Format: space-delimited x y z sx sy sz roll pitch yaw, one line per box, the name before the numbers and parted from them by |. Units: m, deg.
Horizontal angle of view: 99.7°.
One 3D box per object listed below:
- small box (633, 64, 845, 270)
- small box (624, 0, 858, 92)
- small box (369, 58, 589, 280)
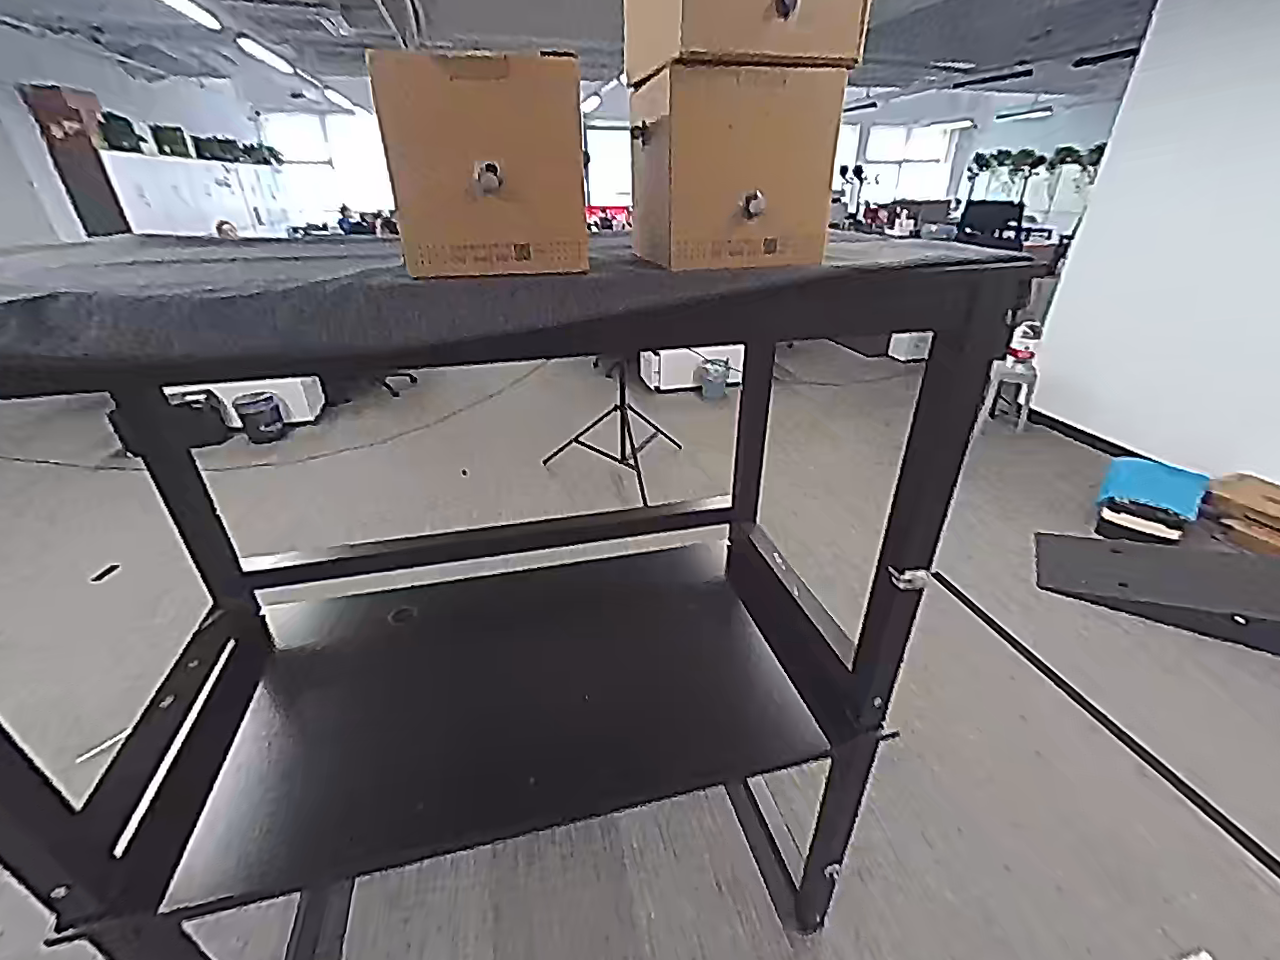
small box | 0.089 -0.322 0.578 0.168 0.176 0.179 -8 29 -10
small box | 0.090 -0.464 0.490 0.179 0.176 0.168 -8 28 -15
small box | -0.143 -0.295 0.536 0.168 0.176 0.179 -5 28 -9
